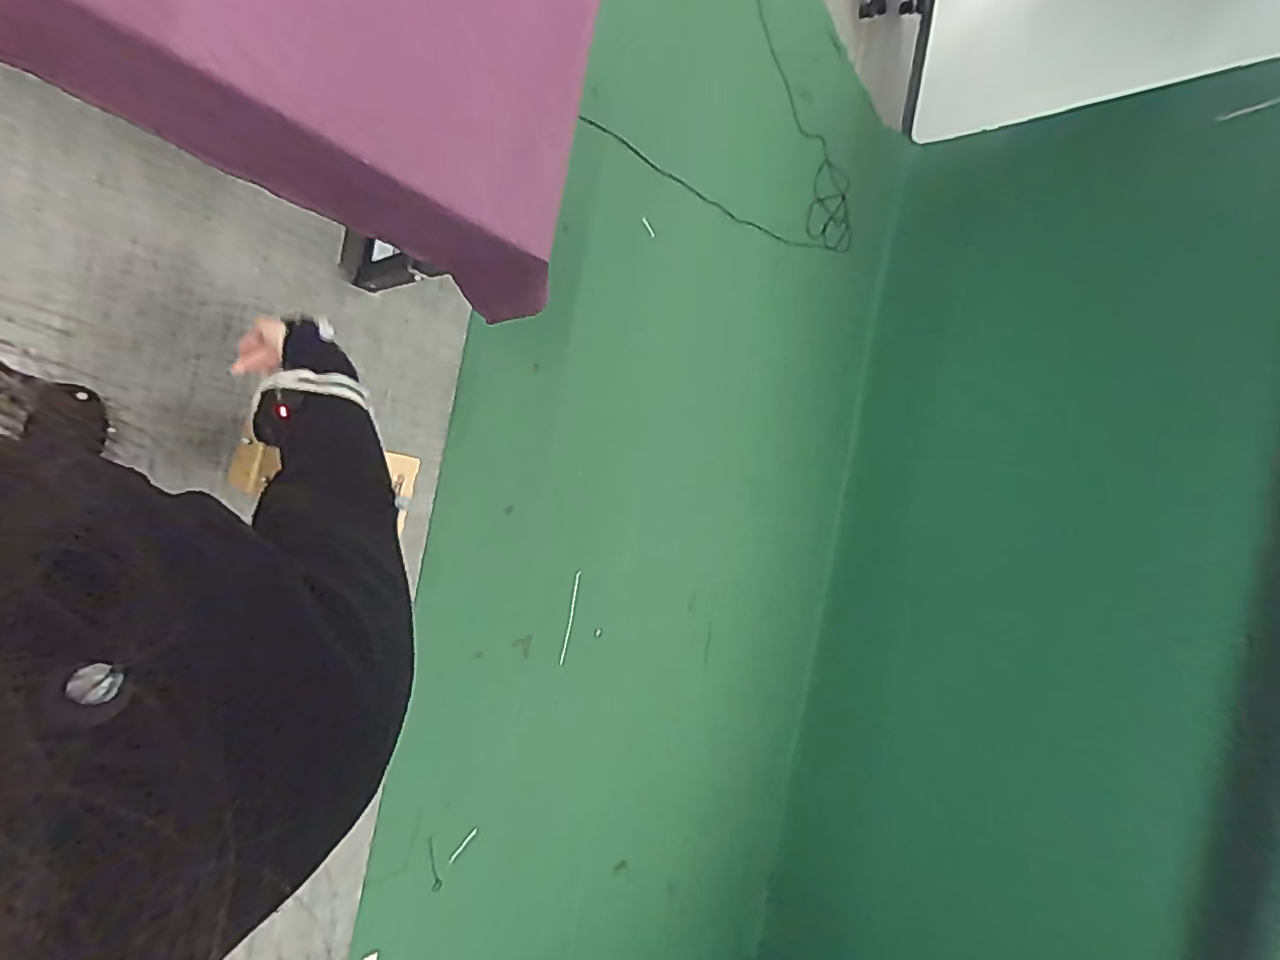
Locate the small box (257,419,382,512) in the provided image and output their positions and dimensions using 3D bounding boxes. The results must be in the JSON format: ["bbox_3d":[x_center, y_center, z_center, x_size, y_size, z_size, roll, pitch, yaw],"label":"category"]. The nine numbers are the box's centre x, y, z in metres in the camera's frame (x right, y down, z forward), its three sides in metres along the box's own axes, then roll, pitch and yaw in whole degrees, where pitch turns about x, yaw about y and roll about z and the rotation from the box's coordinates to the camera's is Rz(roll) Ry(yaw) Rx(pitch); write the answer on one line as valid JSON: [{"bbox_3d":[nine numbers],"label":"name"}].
[{"bbox_3d":[-0.701,-0.034,1.178,0.179,0.176,0.168,13,89,-50],"label":"small box"}]

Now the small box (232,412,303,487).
[{"bbox_3d":[-0.828,-0.059,1.277,0.179,0.176,0.168,17,85,-50],"label":"small box"}]
